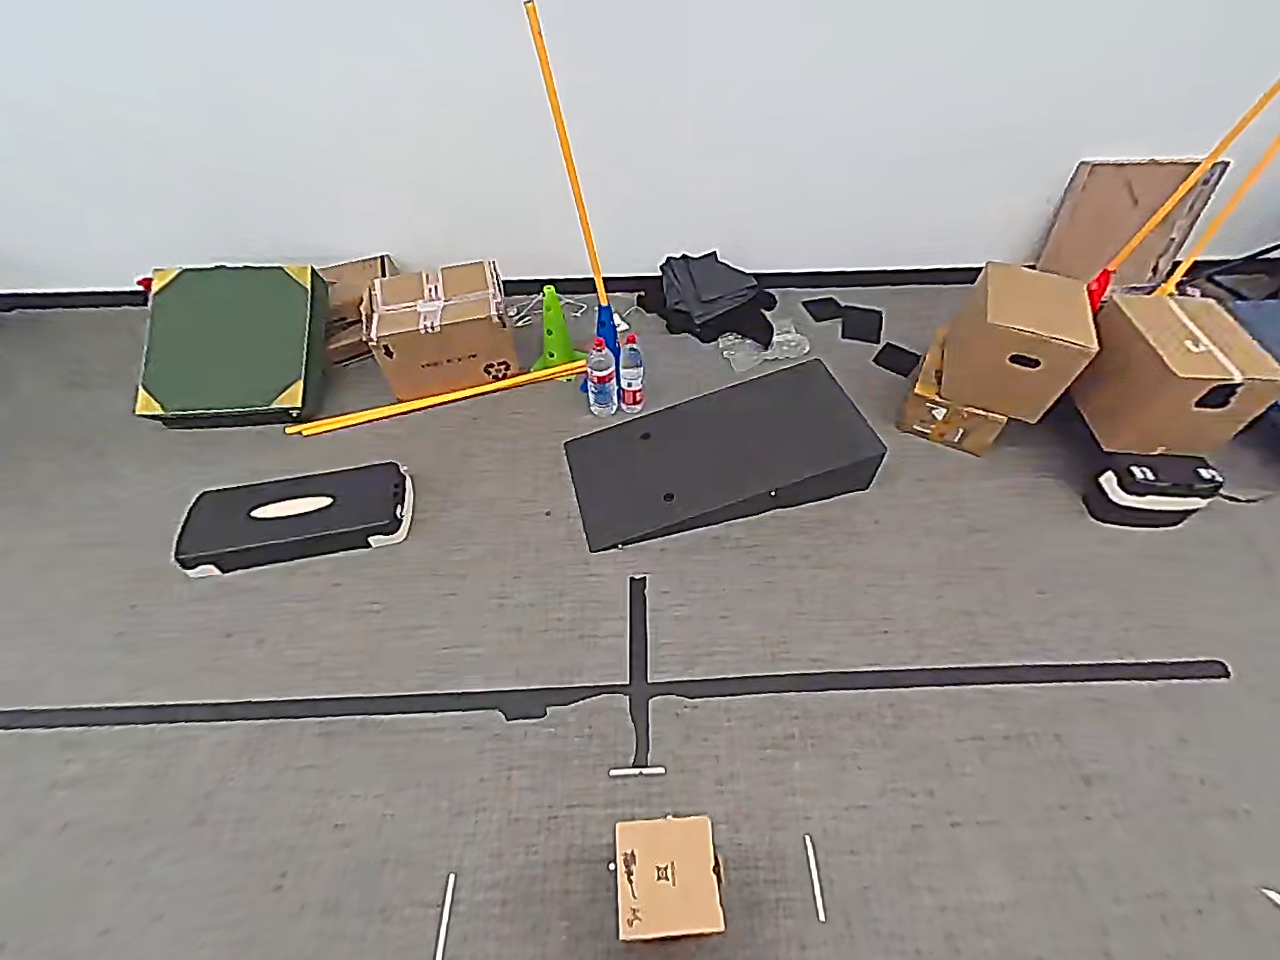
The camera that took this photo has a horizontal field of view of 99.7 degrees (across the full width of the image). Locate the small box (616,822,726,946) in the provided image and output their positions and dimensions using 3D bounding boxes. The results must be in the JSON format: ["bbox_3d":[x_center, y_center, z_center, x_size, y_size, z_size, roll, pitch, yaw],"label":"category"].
[{"bbox_3d":[0.047,0.728,0.978,0.179,0.176,0.168,-2,50,-3],"label":"small box"}]
